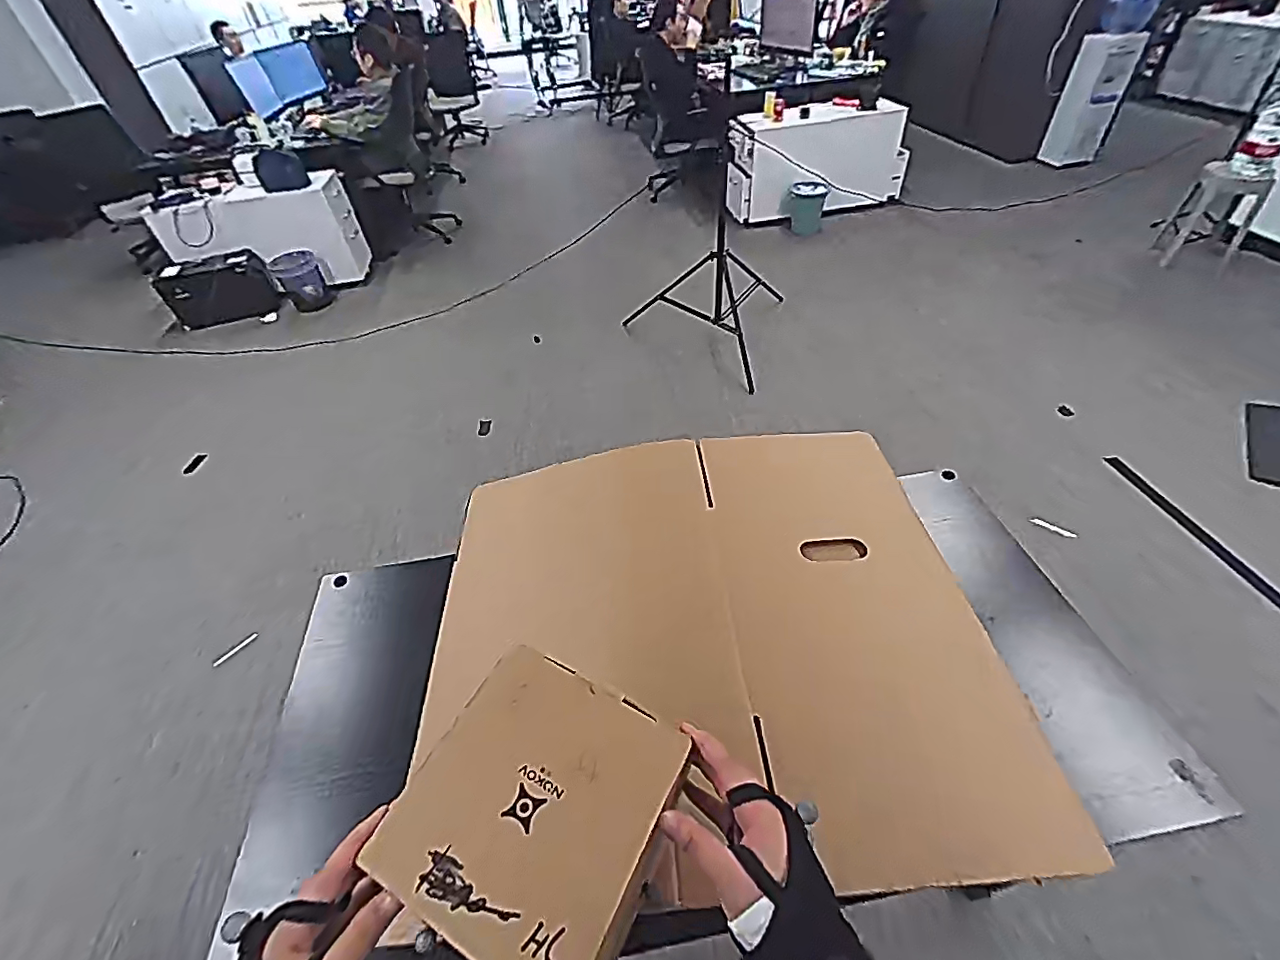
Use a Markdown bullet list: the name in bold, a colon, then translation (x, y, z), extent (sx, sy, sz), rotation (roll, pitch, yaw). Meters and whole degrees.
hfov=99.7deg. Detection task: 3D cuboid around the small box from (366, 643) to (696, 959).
- **small box**: translation (-0.068, 0.273, 0.432), extent (0.168, 0.176, 0.179), rotation (20, 49, 23)
